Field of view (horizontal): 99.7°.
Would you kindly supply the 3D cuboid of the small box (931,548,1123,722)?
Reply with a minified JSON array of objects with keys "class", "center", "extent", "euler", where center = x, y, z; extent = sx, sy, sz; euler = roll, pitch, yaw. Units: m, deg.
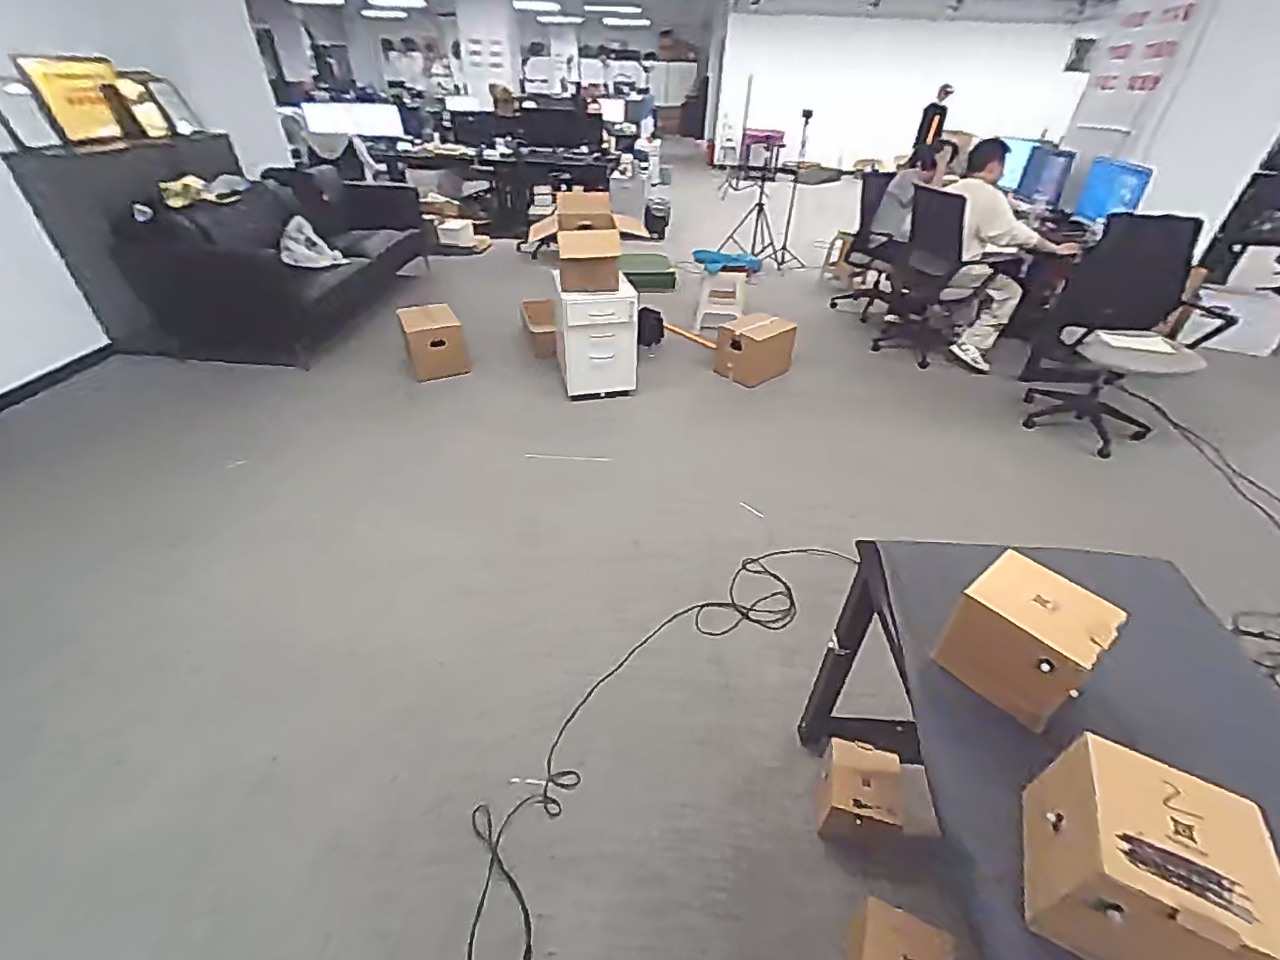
[{"class":"small box","center":[0.613,0.248,0.876],"extent":[0.168,0.176,0.179],"euler":[-24,44,-31]}]

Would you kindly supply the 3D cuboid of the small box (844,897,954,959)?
[{"class":"small box","center":[0.509,0.996,1.079],"extent":[0.168,0.176,0.179],"euler":[17,37,18]}]

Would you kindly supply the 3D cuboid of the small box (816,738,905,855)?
[{"class":"small box","center":[0.546,0.794,1.359],"extent":[0.168,0.176,0.179],"euler":[11,36,12]}]
